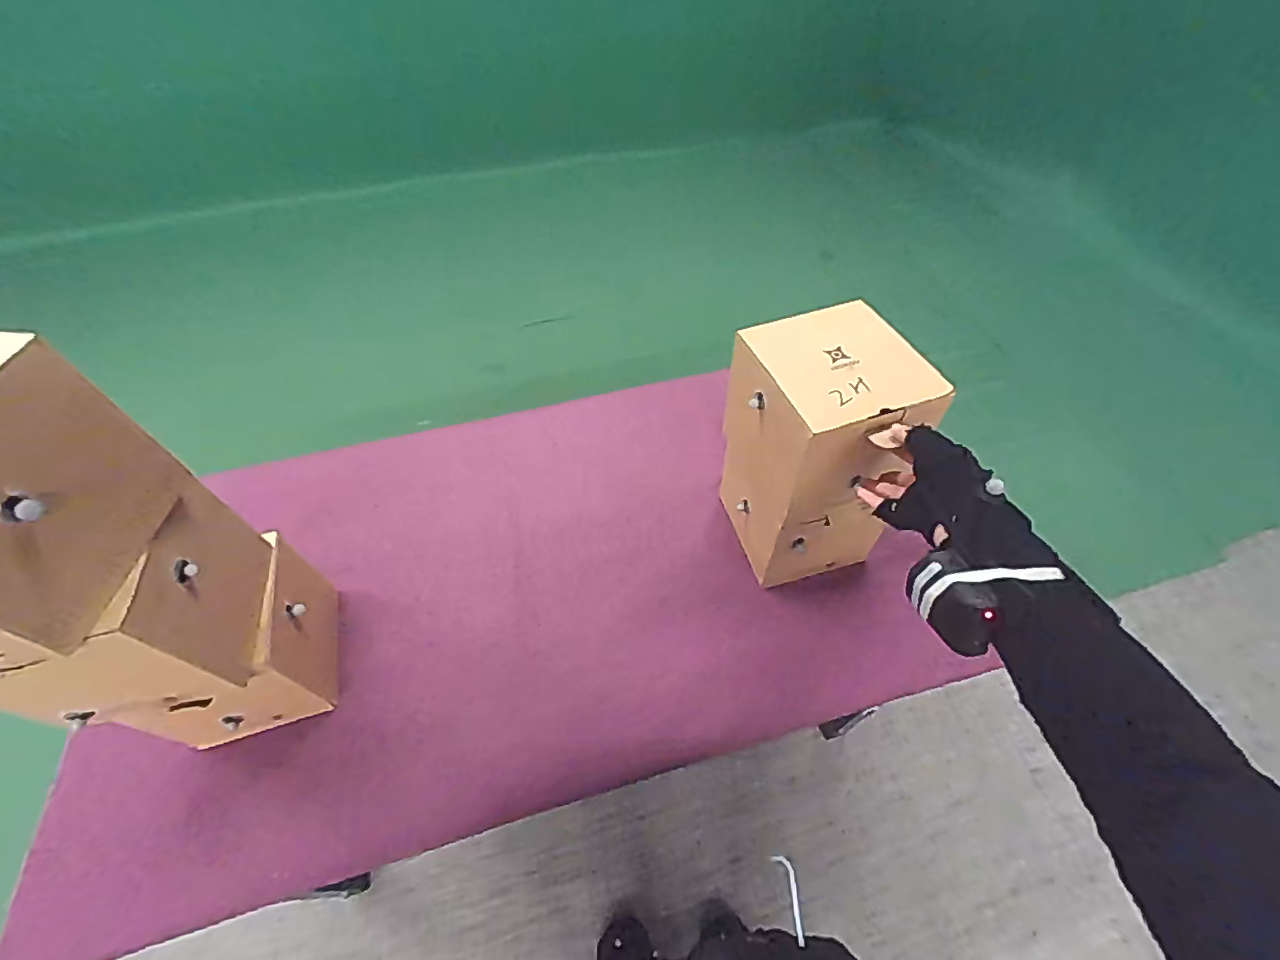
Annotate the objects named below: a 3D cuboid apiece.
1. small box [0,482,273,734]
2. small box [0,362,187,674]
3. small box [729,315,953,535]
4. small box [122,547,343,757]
[{"bbox_3d":[-0.496,0.132,0.527,0.168,0.176,0.179,-11,54,-8],"label":"small box"},{"bbox_3d":[-0.499,0.032,0.397,0.168,0.176,0.179,3,55,2],"label":"small box"},{"bbox_3d":[0.218,-0.063,0.647,0.168,0.176,0.179,-17,54,-10],"label":"small box"},{"bbox_3d":[-0.490,0.215,0.670,0.168,0.176,0.179,-15,55,-10],"label":"small box"}]
